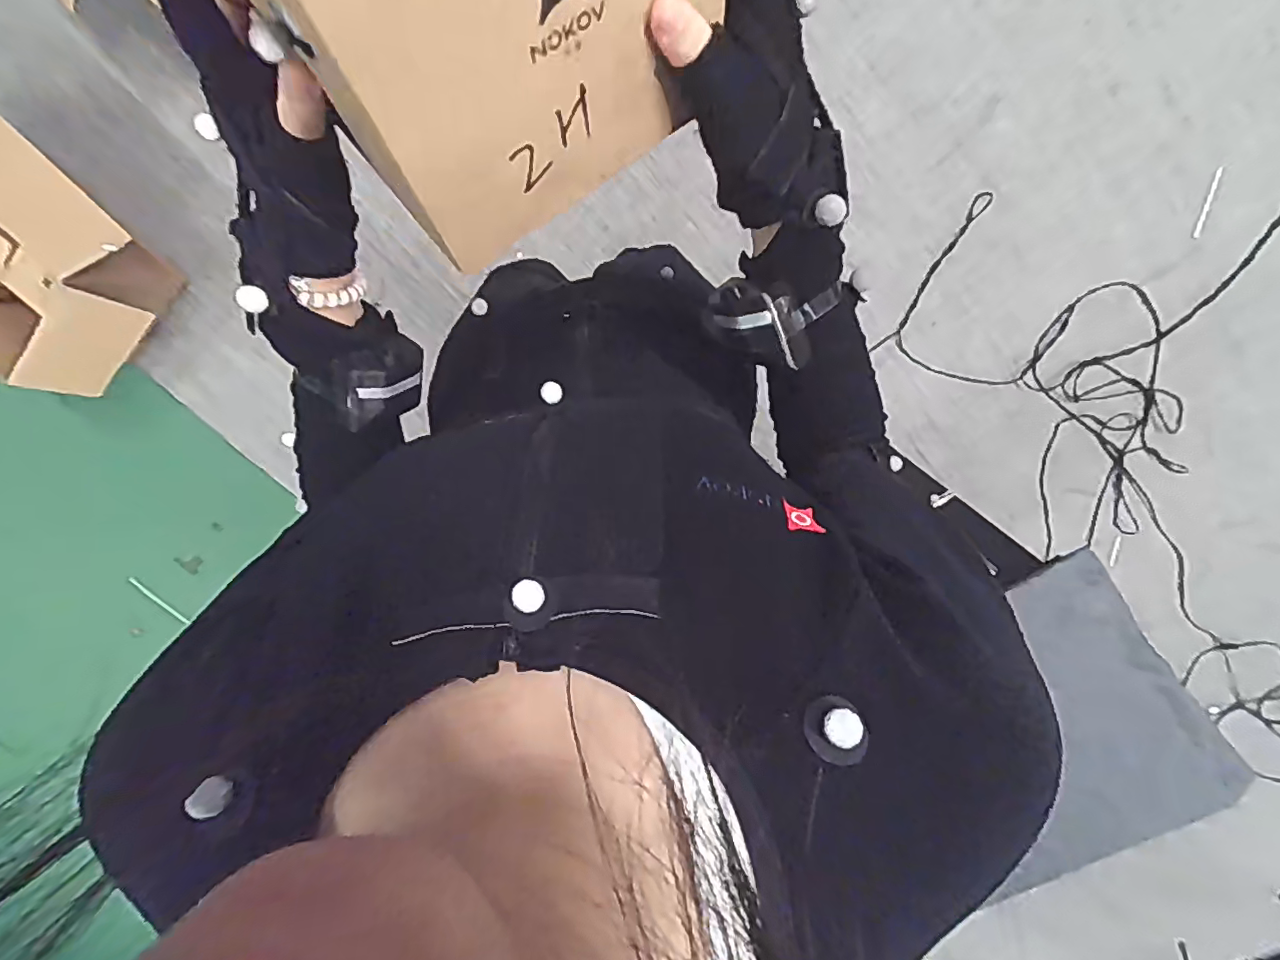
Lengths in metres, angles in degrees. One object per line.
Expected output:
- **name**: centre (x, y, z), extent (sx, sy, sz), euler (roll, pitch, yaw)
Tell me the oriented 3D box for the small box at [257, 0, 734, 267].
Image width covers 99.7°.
- **small box**: centre (-0.075, -0.236, 0.216), extent (0.168, 0.179, 0.176), euler (-38, 74, -8)
